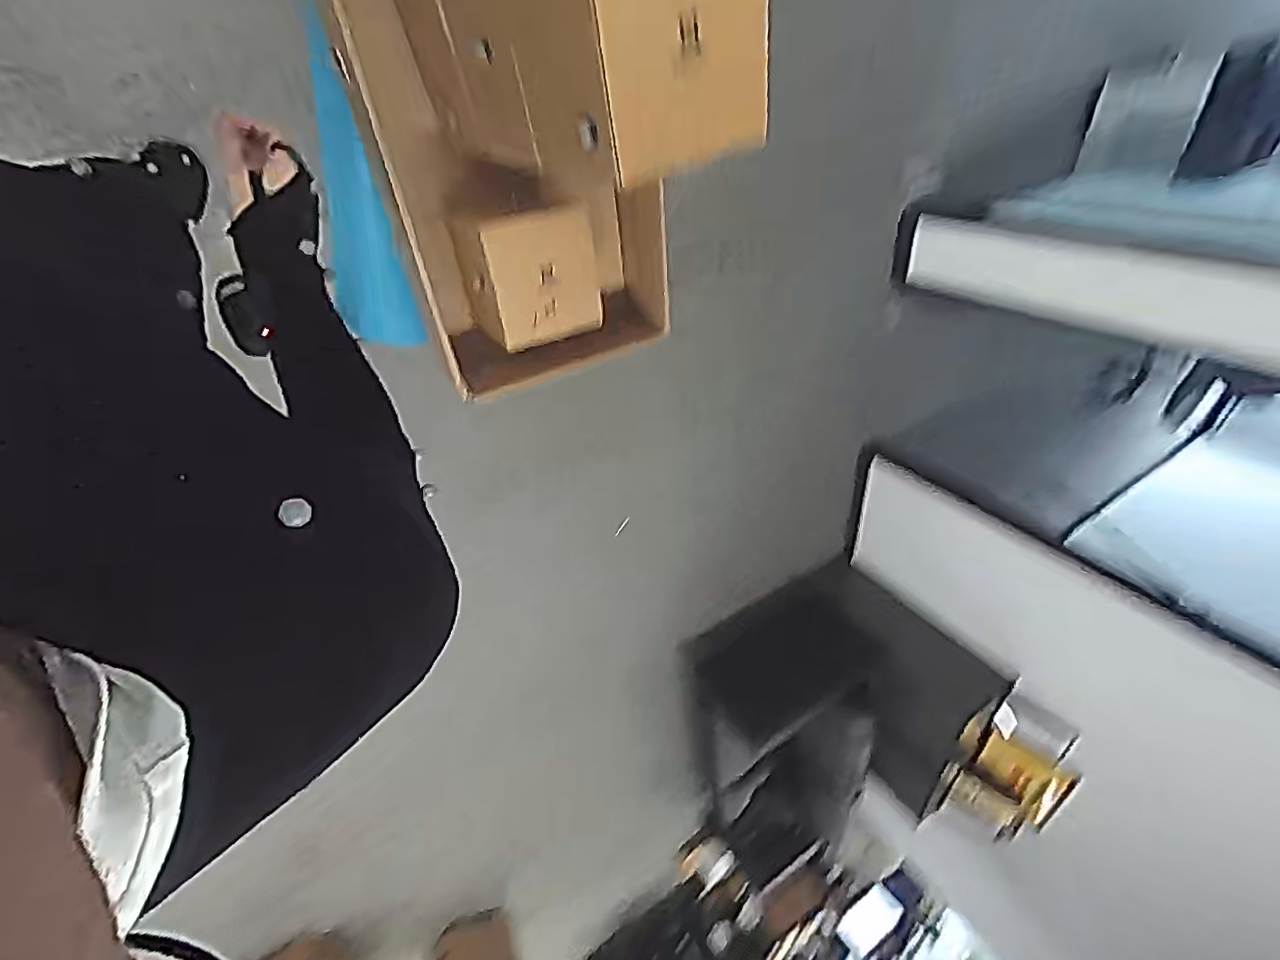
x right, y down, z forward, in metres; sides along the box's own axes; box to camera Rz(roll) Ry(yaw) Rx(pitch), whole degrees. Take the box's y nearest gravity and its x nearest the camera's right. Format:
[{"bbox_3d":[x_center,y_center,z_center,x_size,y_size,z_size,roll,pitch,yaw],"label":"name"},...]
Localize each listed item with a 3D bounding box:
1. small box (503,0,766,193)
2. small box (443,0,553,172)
[{"bbox_3d":[-0.006,-0.382,0.486,0.168,0.176,0.179,-28,135,-19],"label":"small box"},{"bbox_3d":[-0.096,-0.462,0.597,0.168,0.176,0.179,-27,133,-19],"label":"small box"}]
